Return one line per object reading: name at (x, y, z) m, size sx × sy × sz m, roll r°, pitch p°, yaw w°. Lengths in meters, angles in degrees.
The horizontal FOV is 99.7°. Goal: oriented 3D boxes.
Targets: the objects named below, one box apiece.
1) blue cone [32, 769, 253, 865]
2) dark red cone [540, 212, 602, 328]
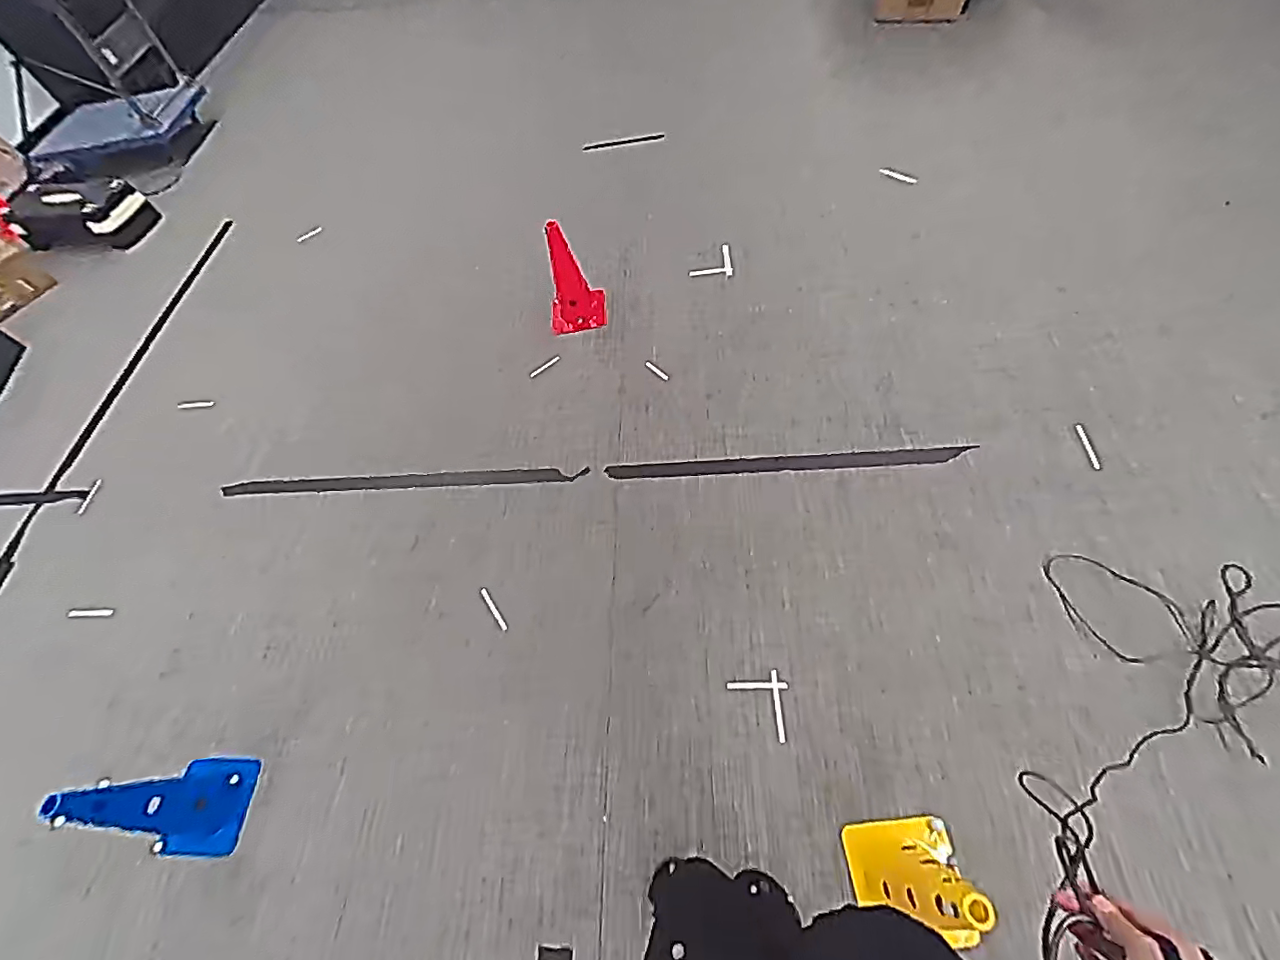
blue cone at (-1.041, 0.705, 1.129) m, size 0.193 × 0.380 × 0.192 m, roll -3°, pitch 60°, yaw 9°
dark red cone at (-0.265, -0.715, 1.823) m, size 0.202 × 0.394 × 0.201 m, roll -10°, pitch 59°, yaw 4°
